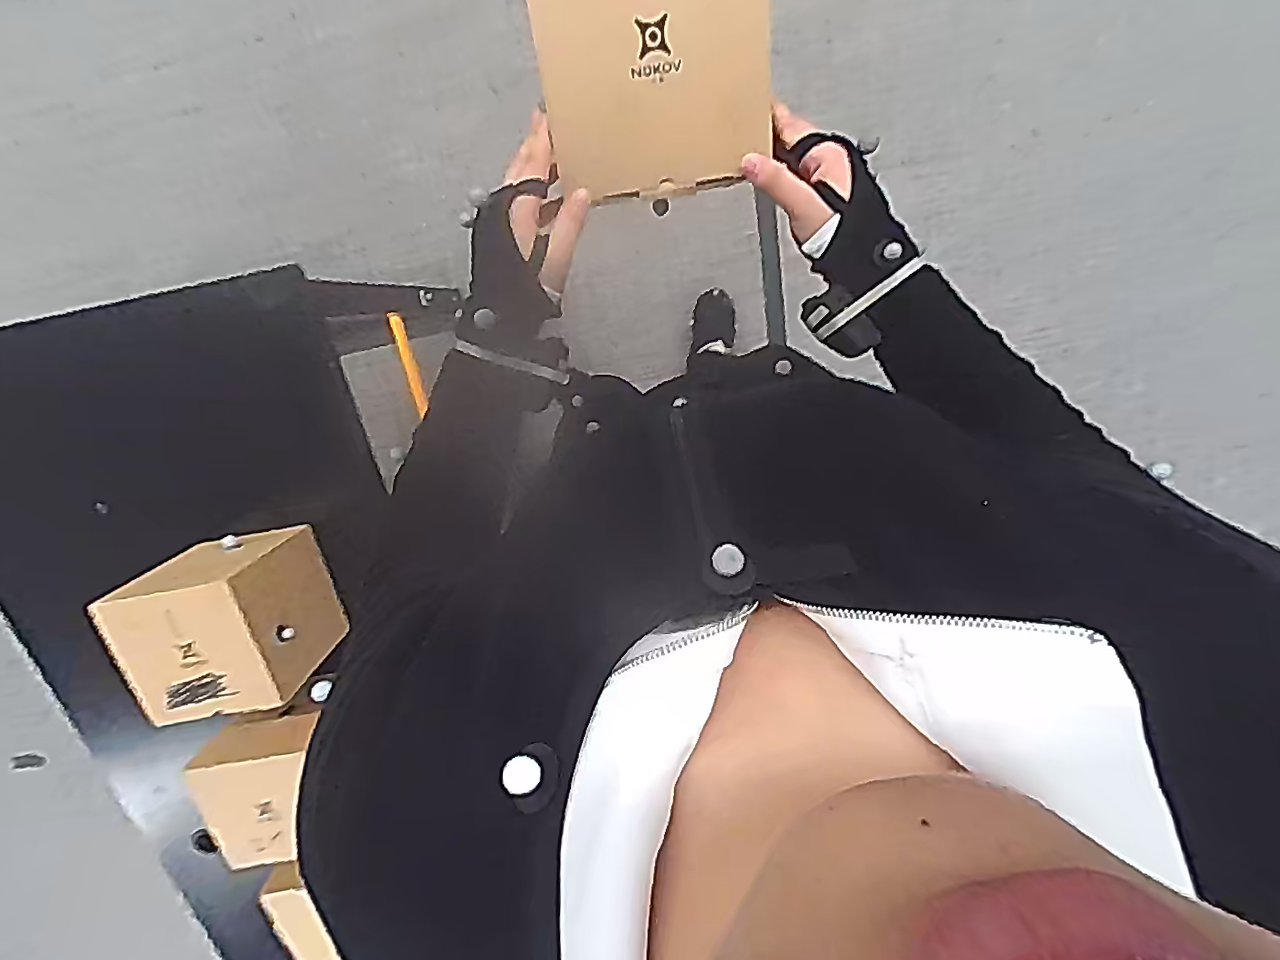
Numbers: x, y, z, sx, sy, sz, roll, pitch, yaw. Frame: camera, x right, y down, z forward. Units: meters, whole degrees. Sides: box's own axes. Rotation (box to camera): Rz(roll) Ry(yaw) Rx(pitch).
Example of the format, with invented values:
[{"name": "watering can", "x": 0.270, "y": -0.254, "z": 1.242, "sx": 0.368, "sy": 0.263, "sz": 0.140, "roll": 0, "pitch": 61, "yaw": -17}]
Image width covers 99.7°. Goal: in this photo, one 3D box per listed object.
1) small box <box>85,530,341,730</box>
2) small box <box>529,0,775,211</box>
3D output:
[{"name": "small box", "x": -0.529, "y": 0.186, "z": 0.704, "sx": 0.168, "sy": 0.176, "sz": 0.179, "roll": -10, "pitch": 107, "yaw": 2}, {"name": "small box", "x": 0.011, "y": -0.333, "z": 0.447, "sx": 0.168, "sy": 0.176, "sz": 0.179, "roll": -8, "pitch": 118, "yaw": 3}]
